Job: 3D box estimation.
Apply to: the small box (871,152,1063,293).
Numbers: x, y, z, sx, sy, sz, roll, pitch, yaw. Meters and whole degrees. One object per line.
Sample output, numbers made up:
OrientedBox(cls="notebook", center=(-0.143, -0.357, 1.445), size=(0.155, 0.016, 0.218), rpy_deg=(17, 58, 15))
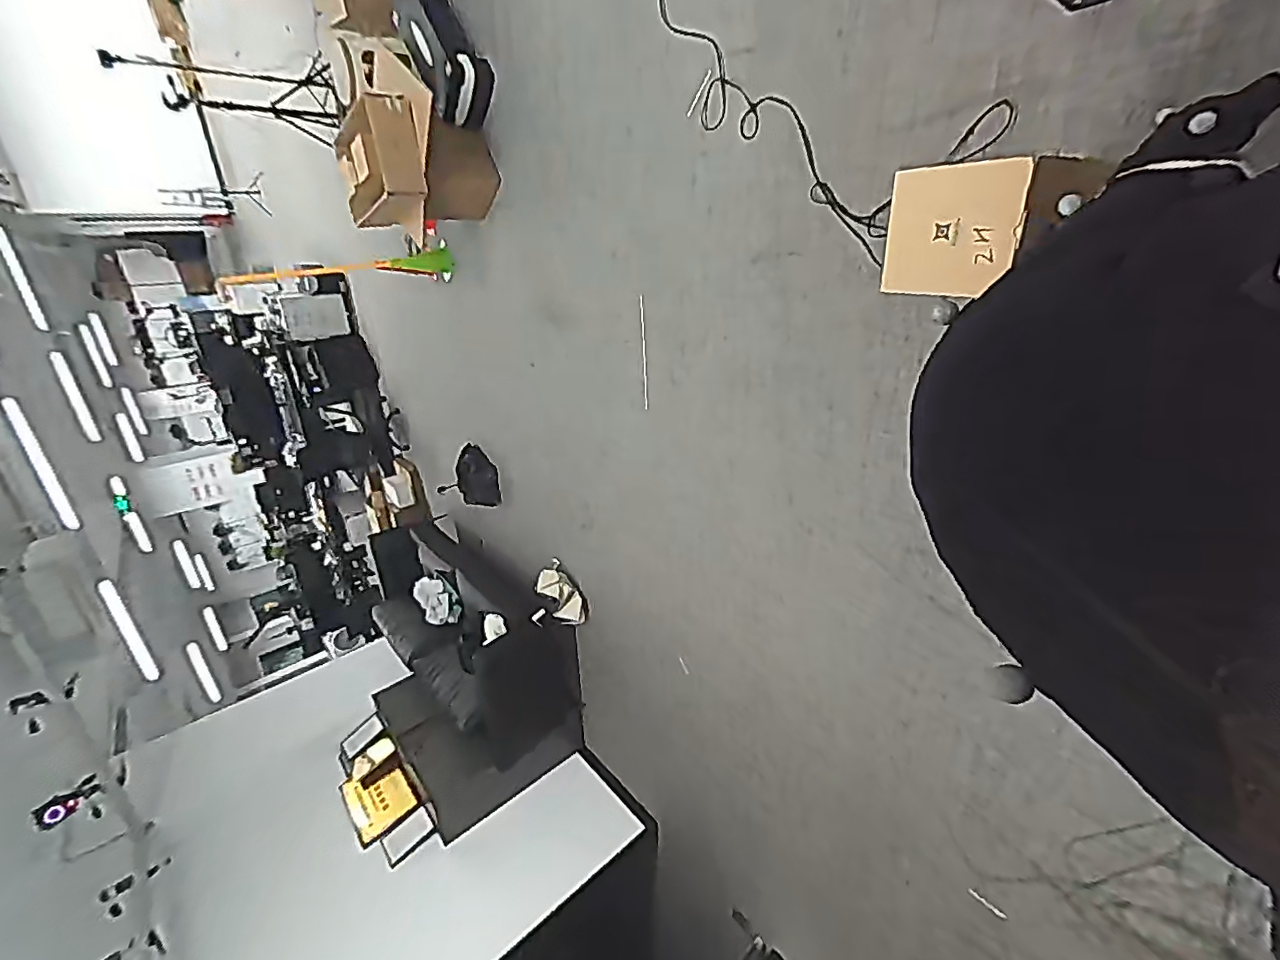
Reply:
OrientedBox(cls="small box", center=(0.473, -0.375, 0.792), size=(0.179, 0.176, 0.168), rpy_deg=(24, 128, 43))

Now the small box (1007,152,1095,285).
OrientedBox(cls="small box", center=(0.605, -0.422, 0.881), size=(0.168, 0.176, 0.179), rpy_deg=(24, 127, 44))
